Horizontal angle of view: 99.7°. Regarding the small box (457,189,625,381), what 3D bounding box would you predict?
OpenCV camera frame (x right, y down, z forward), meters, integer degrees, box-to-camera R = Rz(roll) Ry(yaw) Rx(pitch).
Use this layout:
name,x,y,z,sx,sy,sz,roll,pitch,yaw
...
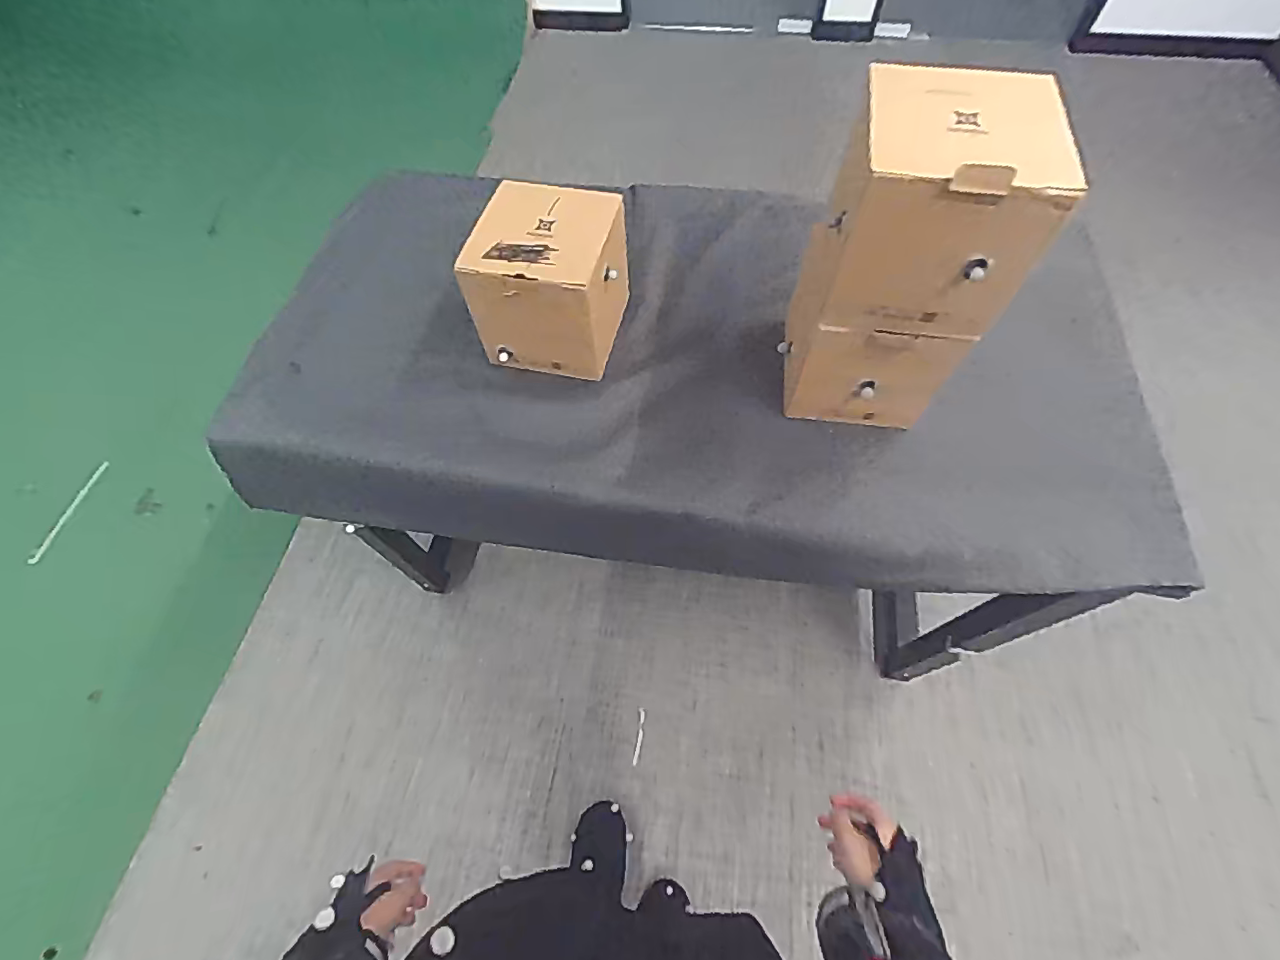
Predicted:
name,x,y,z,sx,sy,sz,roll,pitch,yaw
small box,-0.118,-0.259,0.738,0.168,0.176,0.179,11,61,7

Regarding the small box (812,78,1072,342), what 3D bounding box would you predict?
name,x,y,z,sx,sy,sz,roll,pitch,yaw
small box,0.279,-0.263,0.543,0.168,0.176,0.179,9,60,6

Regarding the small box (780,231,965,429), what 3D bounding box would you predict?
name,x,y,z,sx,sy,sz,roll,pitch,yaw
small box,0.278,-0.183,0.686,0.168,0.176,0.179,6,61,5
